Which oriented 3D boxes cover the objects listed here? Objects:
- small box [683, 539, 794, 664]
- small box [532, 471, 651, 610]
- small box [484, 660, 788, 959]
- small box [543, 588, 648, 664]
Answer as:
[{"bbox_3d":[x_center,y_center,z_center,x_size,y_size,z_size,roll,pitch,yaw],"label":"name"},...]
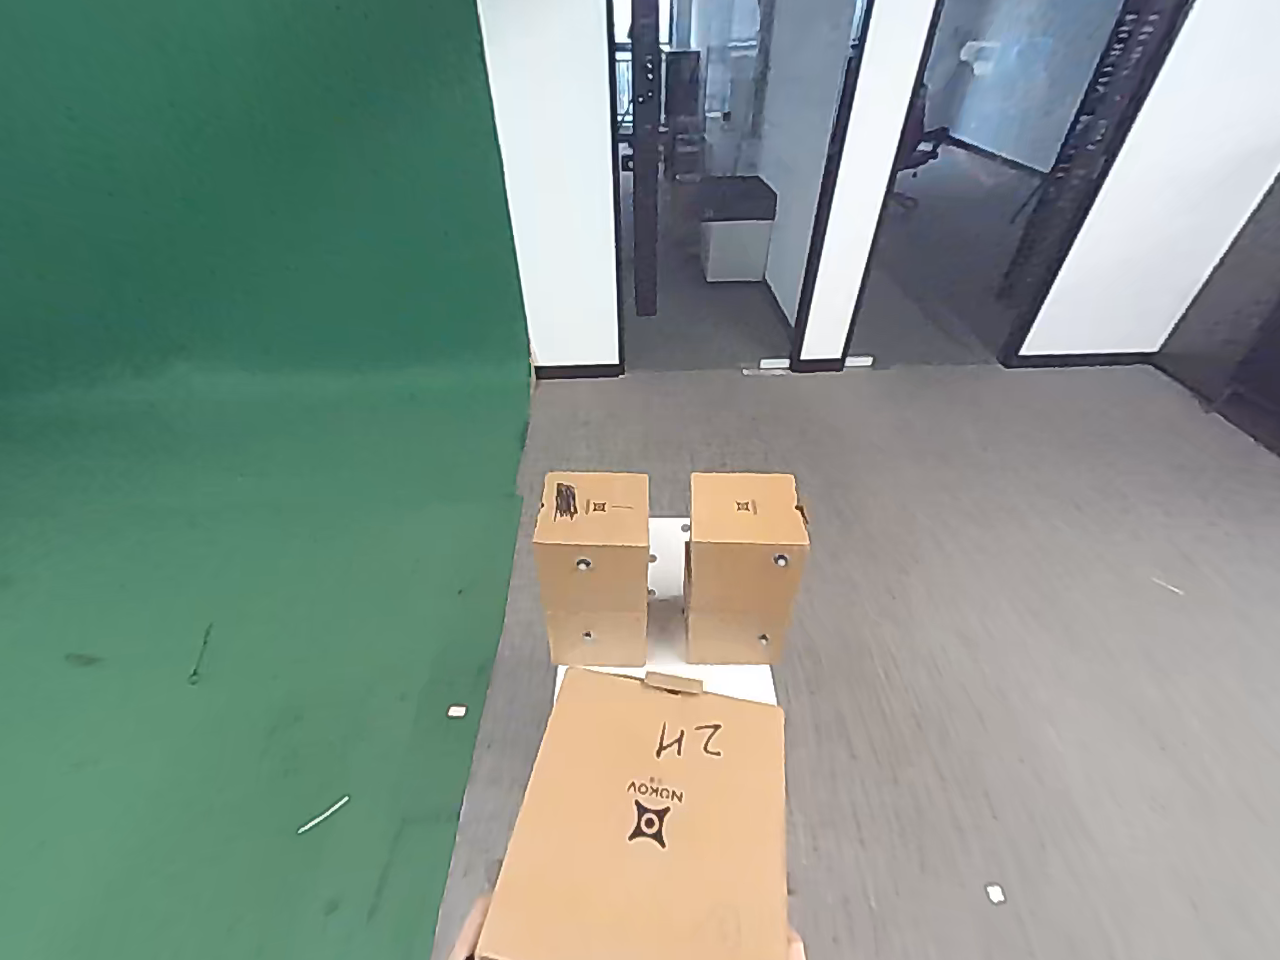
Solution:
[{"bbox_3d":[0.173,0.228,1.010,0.179,0.176,0.168,-2,40,1],"label":"small box"},{"bbox_3d":[-0.072,0.101,0.902,0.179,0.176,0.168,2,41,-1],"label":"small box"},{"bbox_3d":[0.009,0.266,0.395,0.168,0.176,0.179,9,41,7],"label":"small box"},{"bbox_3d":[-0.073,0.228,1.008,0.179,0.176,0.168,1,42,0],"label":"small box"}]
